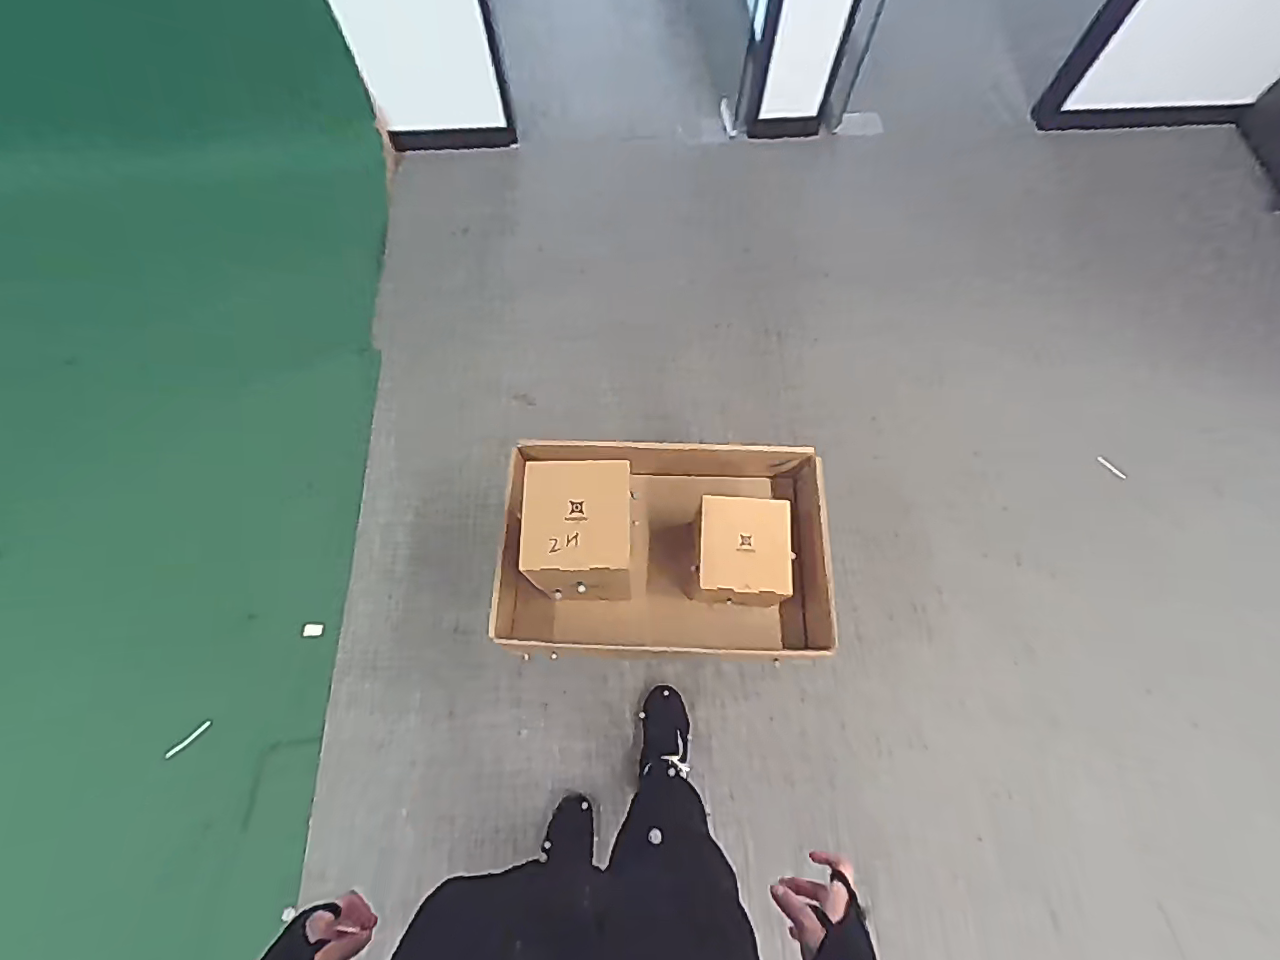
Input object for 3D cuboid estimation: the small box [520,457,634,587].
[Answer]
[{"bbox_3d":[-0.094,0.074,0.894,0.168,0.176,0.179,0,69,0],"label":"small box"}]
